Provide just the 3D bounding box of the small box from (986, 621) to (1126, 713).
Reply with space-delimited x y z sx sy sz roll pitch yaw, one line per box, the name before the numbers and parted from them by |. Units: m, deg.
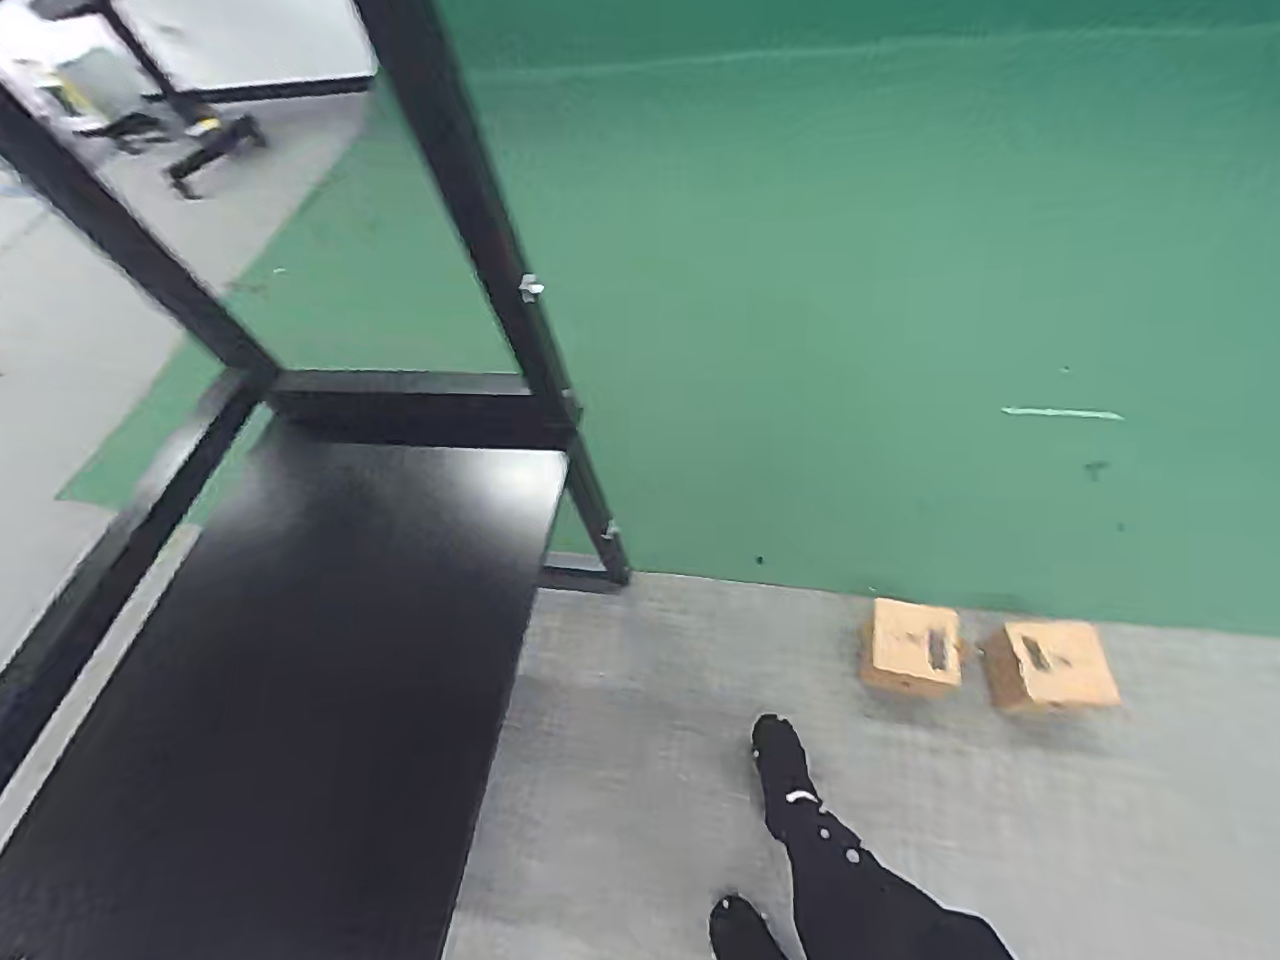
small box | 0.906 0.419 1.205 0.179 0.176 0.168 -2 59 7
